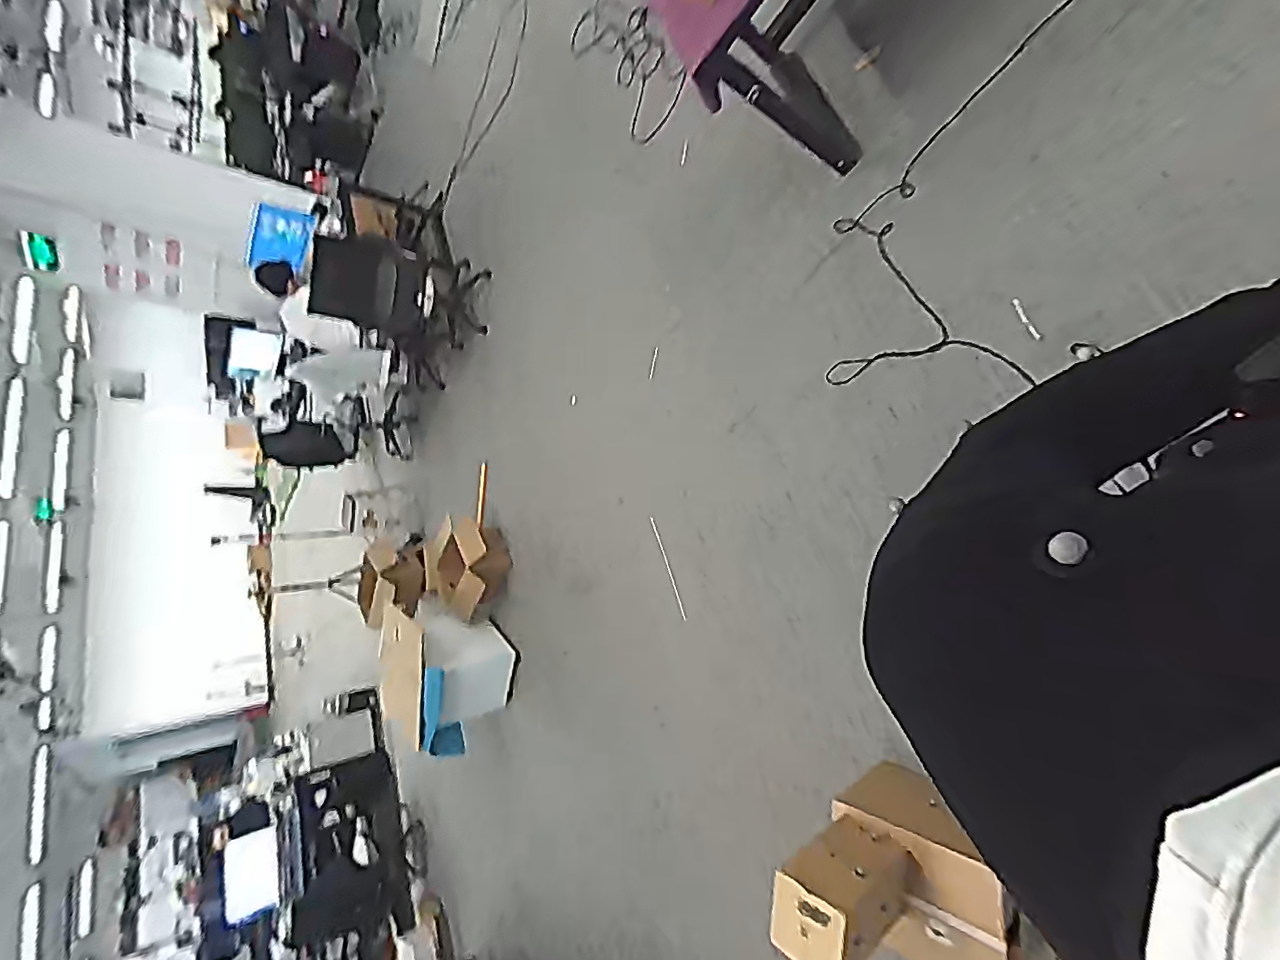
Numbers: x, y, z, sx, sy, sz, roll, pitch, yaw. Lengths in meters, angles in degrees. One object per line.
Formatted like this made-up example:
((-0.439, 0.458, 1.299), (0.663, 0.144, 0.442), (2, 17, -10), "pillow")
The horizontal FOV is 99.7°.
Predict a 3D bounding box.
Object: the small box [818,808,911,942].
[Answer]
((0.549, 0.957, 1.330), (0.168, 0.176, 0.179), (6, 93, 47), "small box")

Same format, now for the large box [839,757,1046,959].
((0.790, 0.993, 1.428), (0.408, 0.320, 0.320), (-3, 88, 47), "large box")

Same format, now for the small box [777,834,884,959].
((0.431, 0.949, 1.217), (0.168, 0.176, 0.179), (7, 95, 47), "small box")
